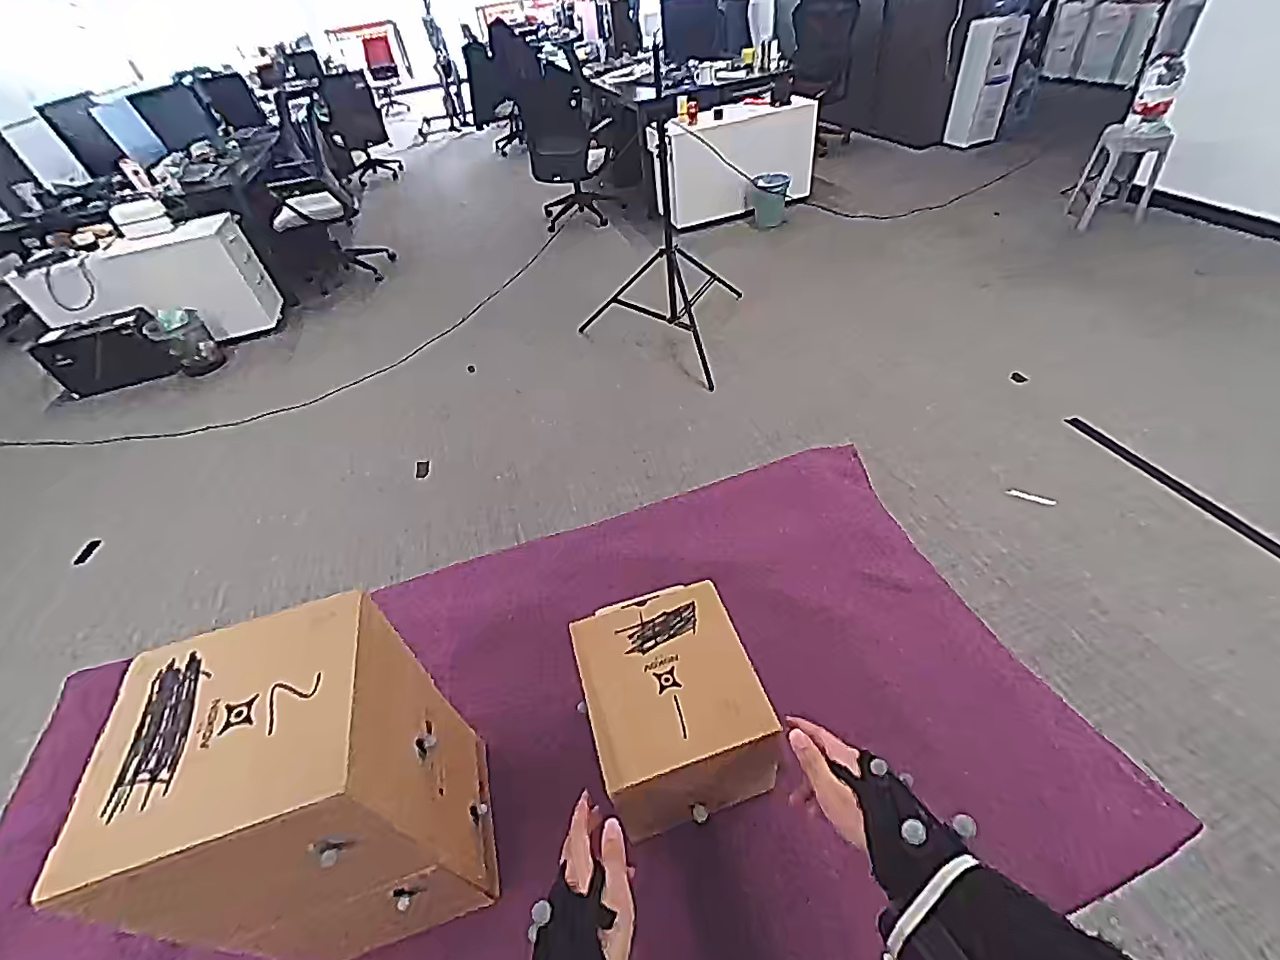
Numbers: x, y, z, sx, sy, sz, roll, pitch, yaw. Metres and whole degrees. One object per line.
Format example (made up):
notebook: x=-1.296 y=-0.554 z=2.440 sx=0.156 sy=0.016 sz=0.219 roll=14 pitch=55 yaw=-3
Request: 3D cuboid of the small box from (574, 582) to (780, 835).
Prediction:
small box: x=0.035 y=0.247 z=0.591 sx=0.168 sy=0.176 sz=0.179 roll=-16 pitch=44 yaw=-7

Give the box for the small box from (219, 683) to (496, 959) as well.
small box: x=-0.261 y=0.343 z=0.543 sx=0.179 sy=0.176 sz=0.168 roll=-17 pitch=44 yaw=-9
